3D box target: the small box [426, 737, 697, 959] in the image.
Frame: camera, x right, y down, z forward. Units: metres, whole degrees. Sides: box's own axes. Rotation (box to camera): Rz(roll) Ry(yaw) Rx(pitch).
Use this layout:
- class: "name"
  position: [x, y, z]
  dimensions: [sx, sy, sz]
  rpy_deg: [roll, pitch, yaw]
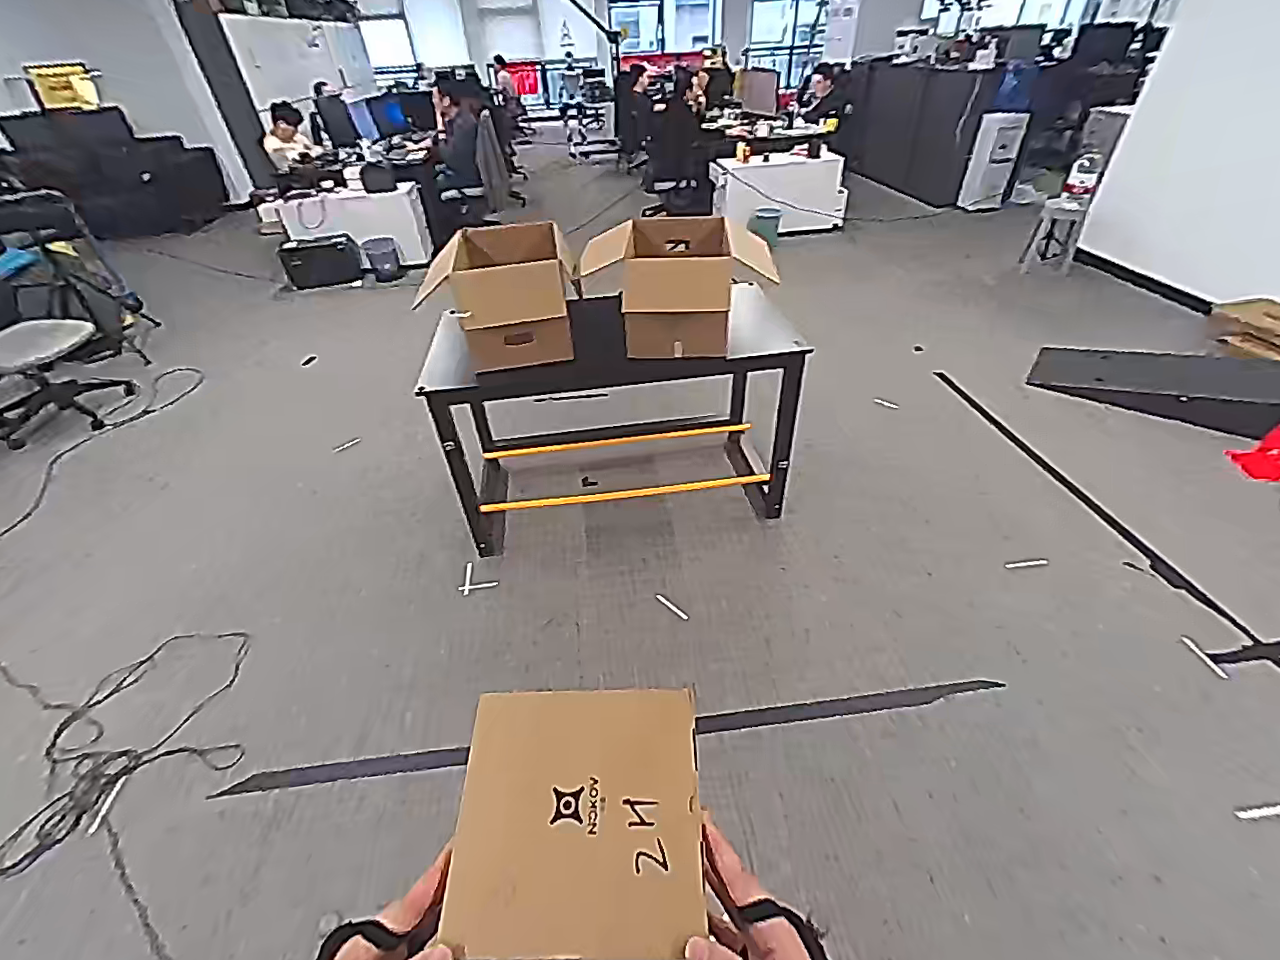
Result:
- class: "small box"
  position: [-0.047, 0.318, 0.436]
  dimensions: [0.179, 0.176, 0.168]
  rpy_deg: [-2, 51, 1]
